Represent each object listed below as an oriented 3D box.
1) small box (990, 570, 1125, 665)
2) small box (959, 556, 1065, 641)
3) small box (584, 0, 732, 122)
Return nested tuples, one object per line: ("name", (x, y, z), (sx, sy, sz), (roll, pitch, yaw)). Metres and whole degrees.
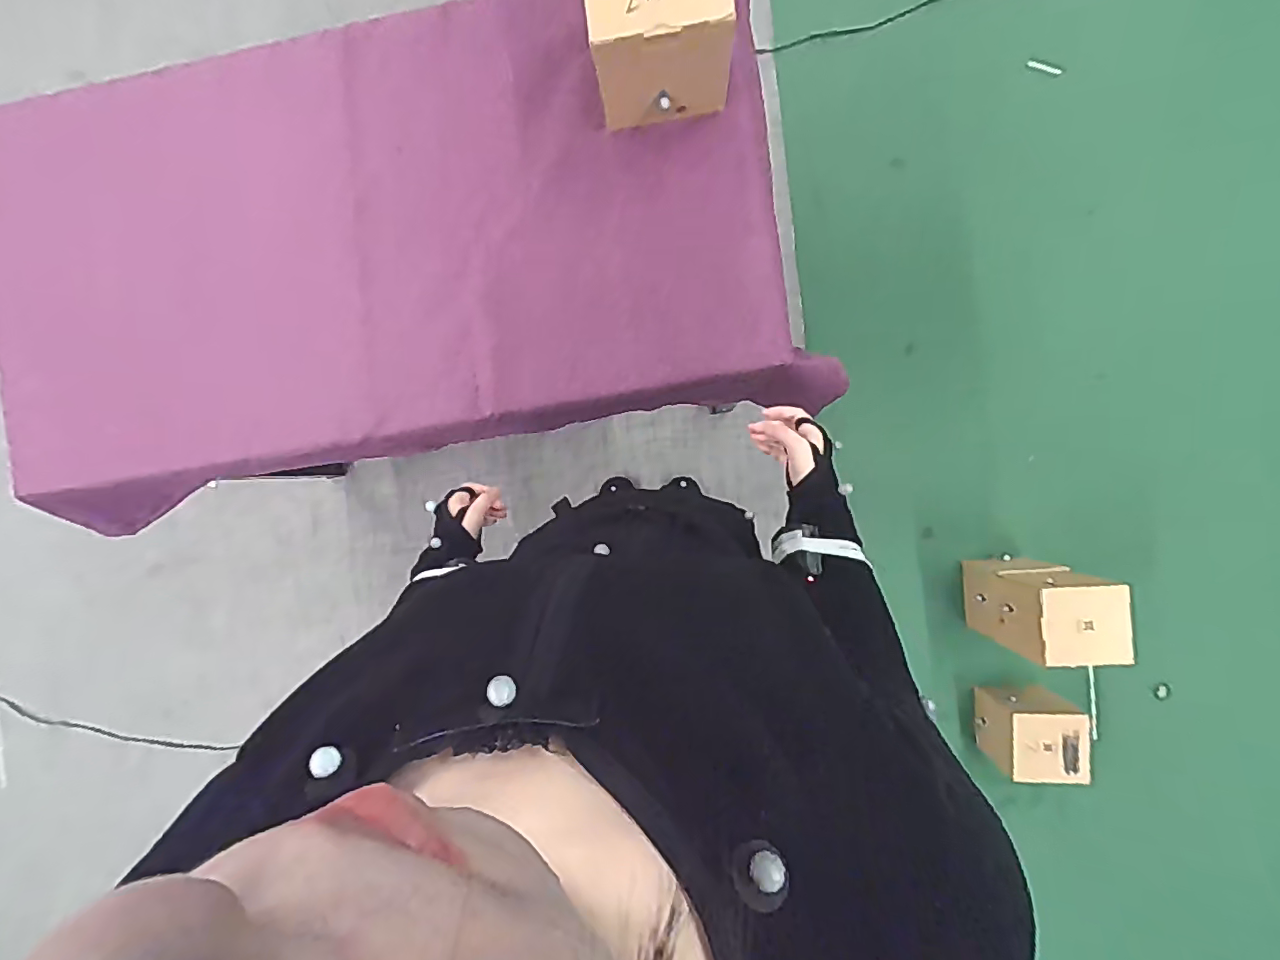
("small box", (0.917, 0.298, 1.199), (0.179, 0.176, 0.168), (-4, 90, 4))
("small box", (0.932, 0.294, 1.362), (0.168, 0.176, 0.179), (-4, 90, 4))
("small box", (0.019, -0.593, 0.675), (0.168, 0.176, 0.179), (-6, 94, 5))
